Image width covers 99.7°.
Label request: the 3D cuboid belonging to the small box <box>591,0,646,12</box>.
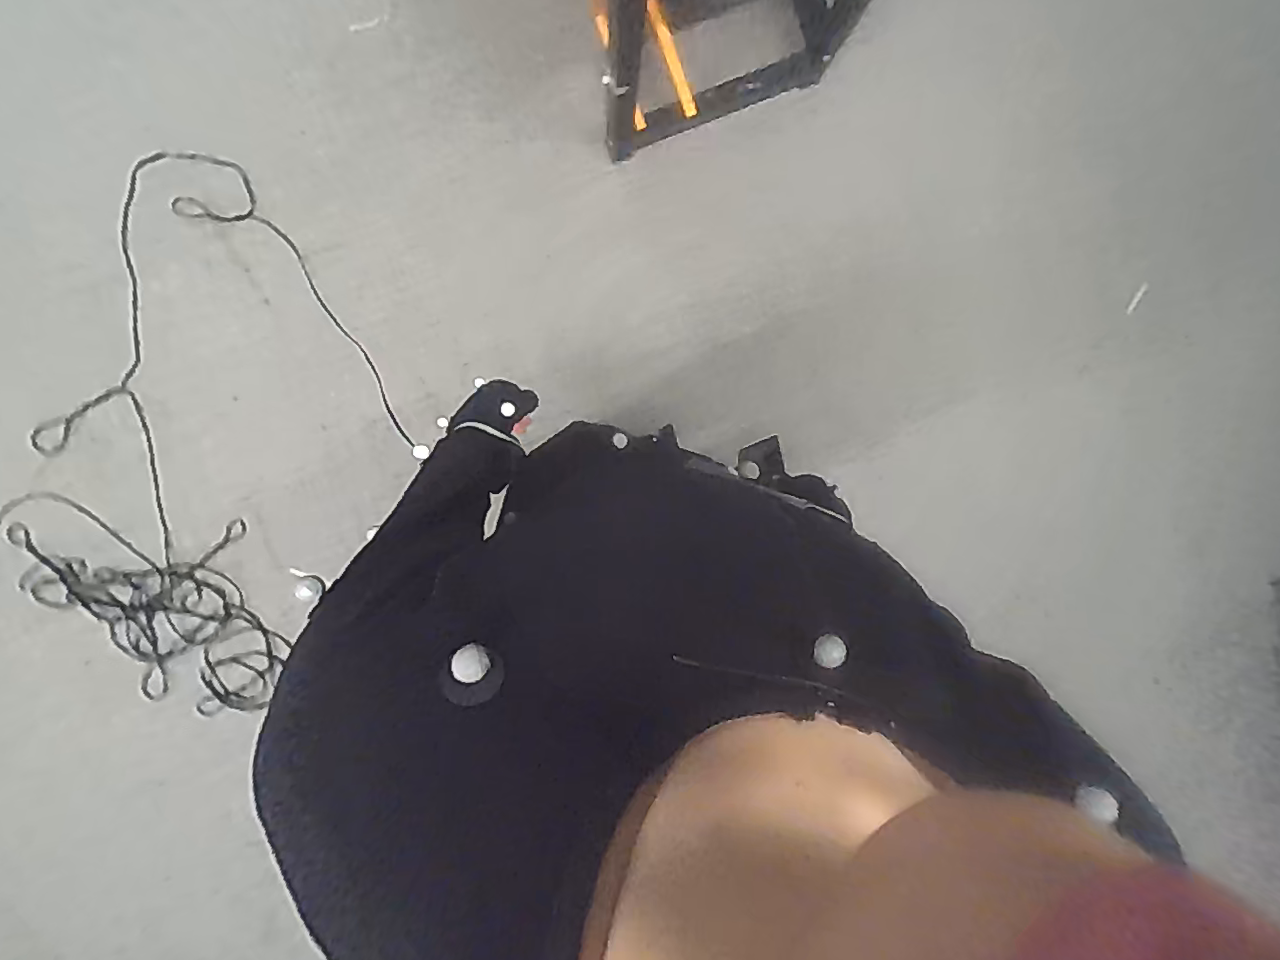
[{"bbox_3d":[-0.043,-1.156,1.150,0.179,0.176,0.168,-18,98,-1],"label":"small box"}]
